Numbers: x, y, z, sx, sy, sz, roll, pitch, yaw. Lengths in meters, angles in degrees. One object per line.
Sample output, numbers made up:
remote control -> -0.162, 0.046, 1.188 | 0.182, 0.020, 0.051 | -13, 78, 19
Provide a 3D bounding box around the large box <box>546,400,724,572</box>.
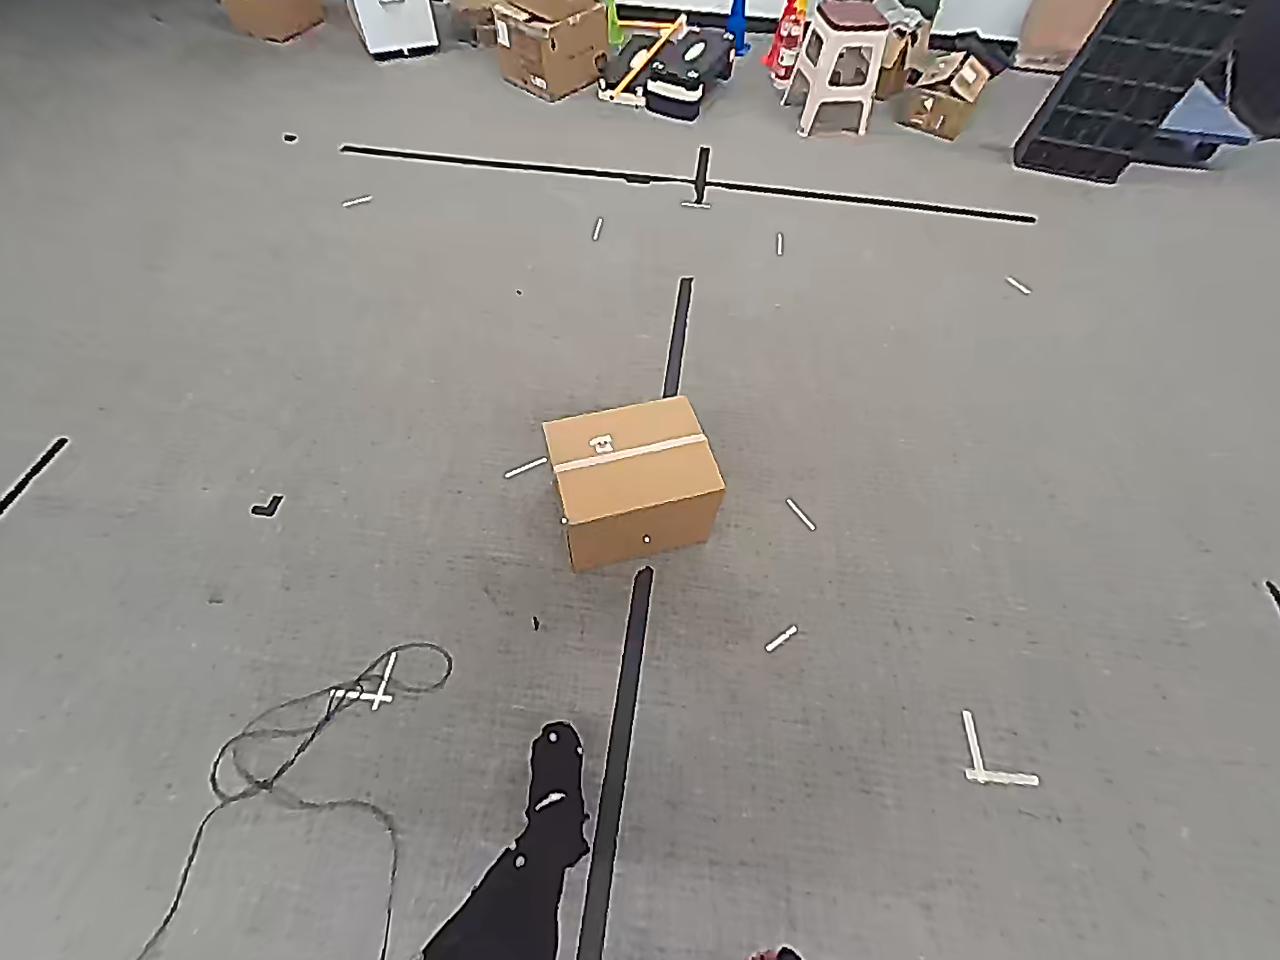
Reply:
large box -> -0.023, 0.023, 1.515 | 0.408, 0.320, 0.320 | -13, 60, -10
